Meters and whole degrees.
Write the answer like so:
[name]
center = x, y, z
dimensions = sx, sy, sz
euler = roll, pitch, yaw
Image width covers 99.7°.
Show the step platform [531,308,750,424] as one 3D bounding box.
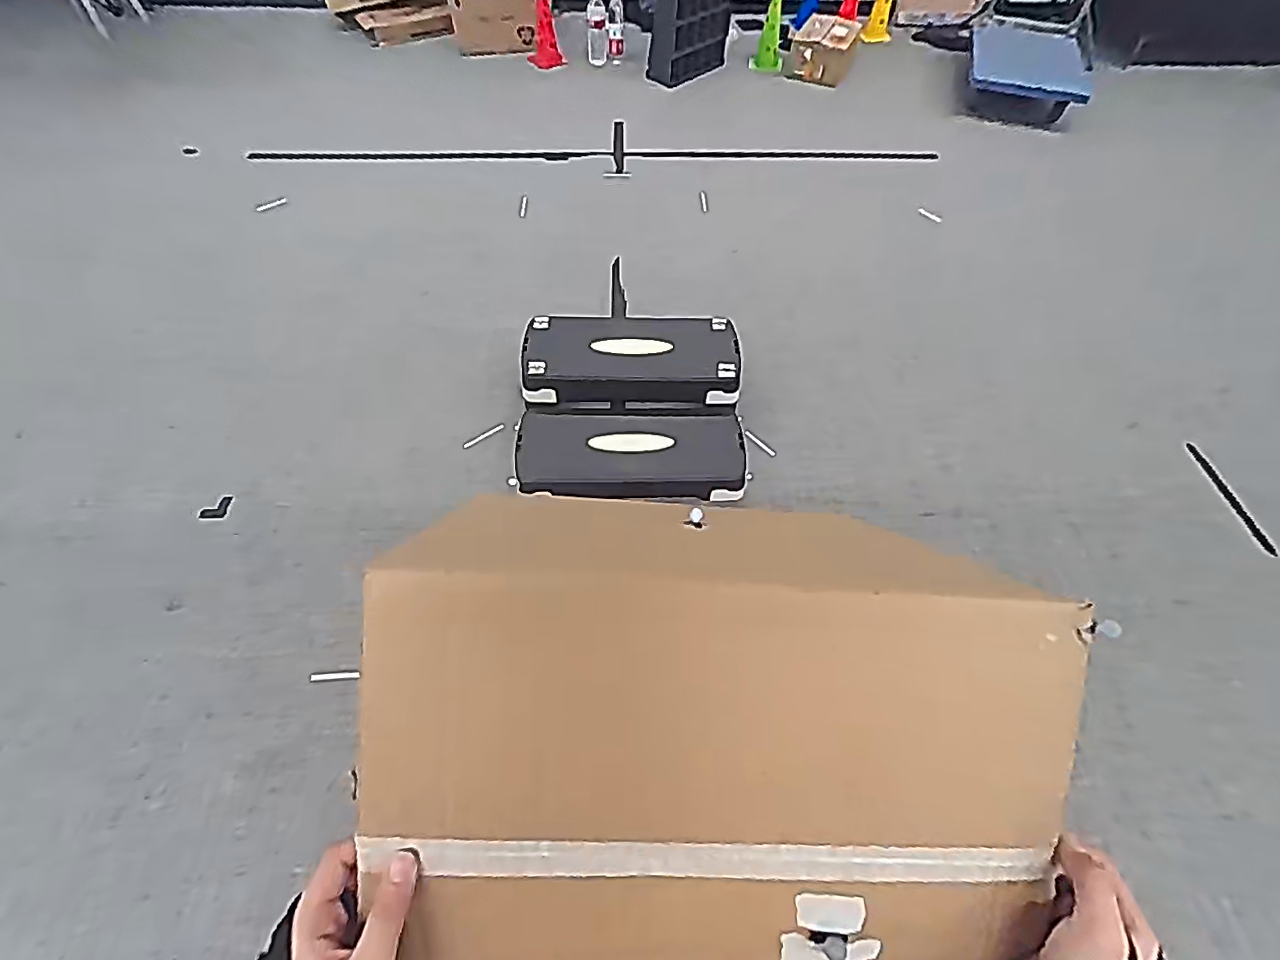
[step platform]
center = 0.003, -0.365, 1.715
dimensions = 0.684, 0.204, 0.286
euler = 5, 57, 0
